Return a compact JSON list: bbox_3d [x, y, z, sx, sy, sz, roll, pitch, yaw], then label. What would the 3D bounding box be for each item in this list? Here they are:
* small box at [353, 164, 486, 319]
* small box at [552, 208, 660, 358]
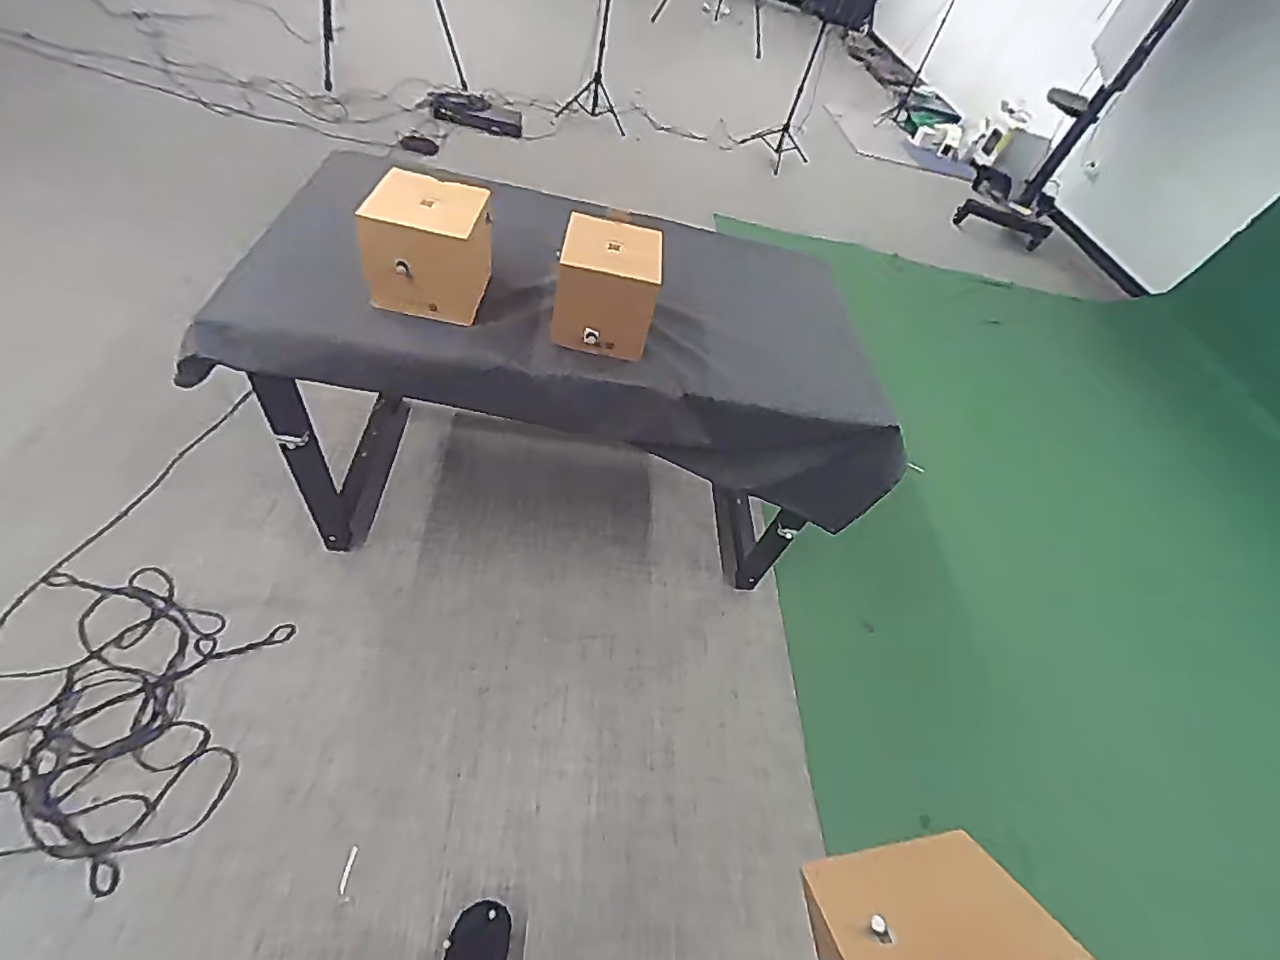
[{"bbox_3d":[-0.360,-0.401,0.922,0.168,0.176,0.179,9,50,-9],"label":"small box"},{"bbox_3d":[-0.062,-0.349,0.966,0.168,0.176,0.179,8,51,-8],"label":"small box"}]
